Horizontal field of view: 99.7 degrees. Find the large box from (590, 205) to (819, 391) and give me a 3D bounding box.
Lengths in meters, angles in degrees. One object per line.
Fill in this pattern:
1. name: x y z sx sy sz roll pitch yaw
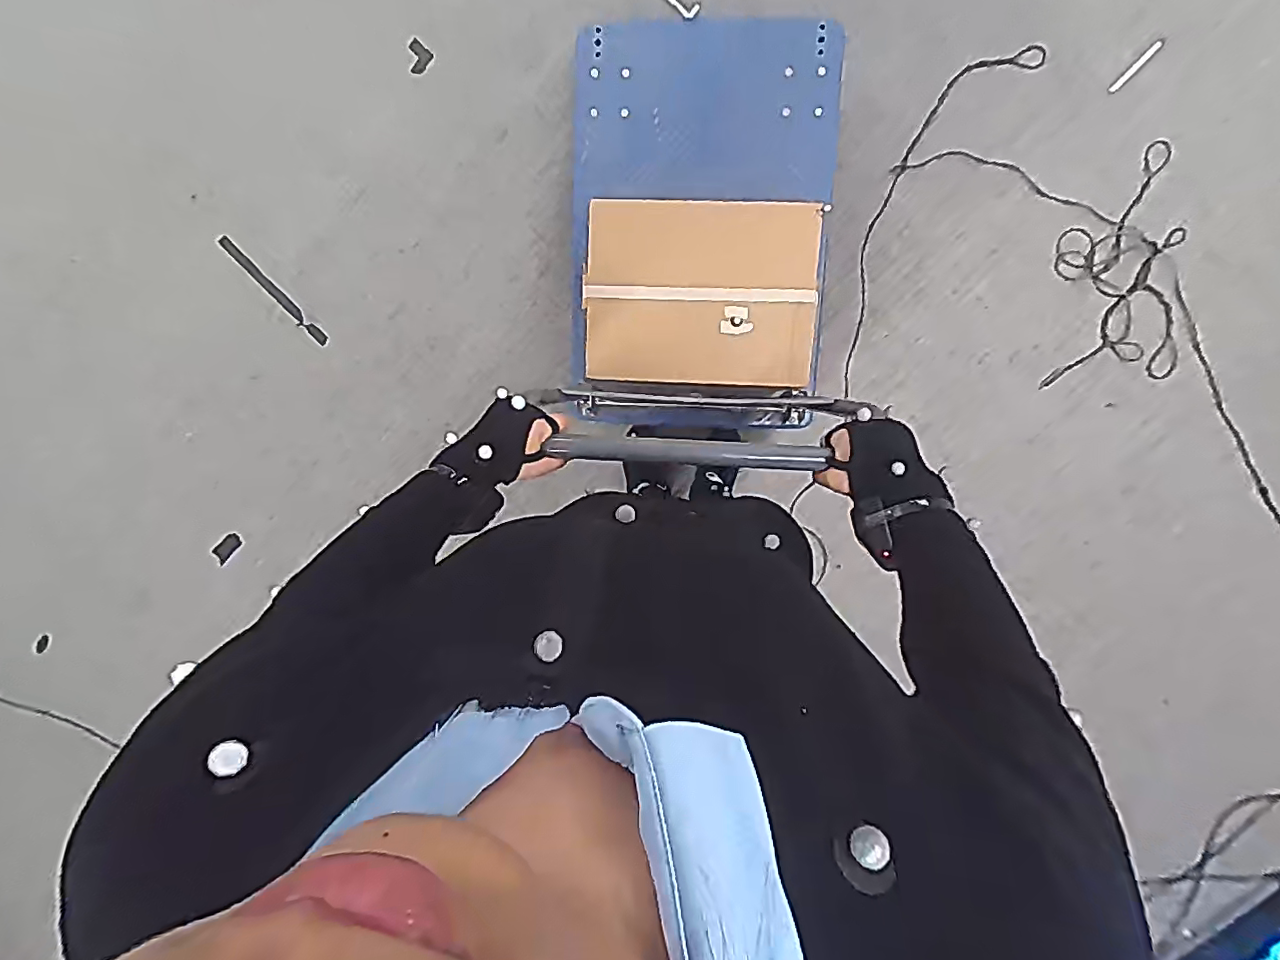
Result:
1. large box: 0.116 -0.346 1.110 0.408 0.320 0.320 2 99 3
